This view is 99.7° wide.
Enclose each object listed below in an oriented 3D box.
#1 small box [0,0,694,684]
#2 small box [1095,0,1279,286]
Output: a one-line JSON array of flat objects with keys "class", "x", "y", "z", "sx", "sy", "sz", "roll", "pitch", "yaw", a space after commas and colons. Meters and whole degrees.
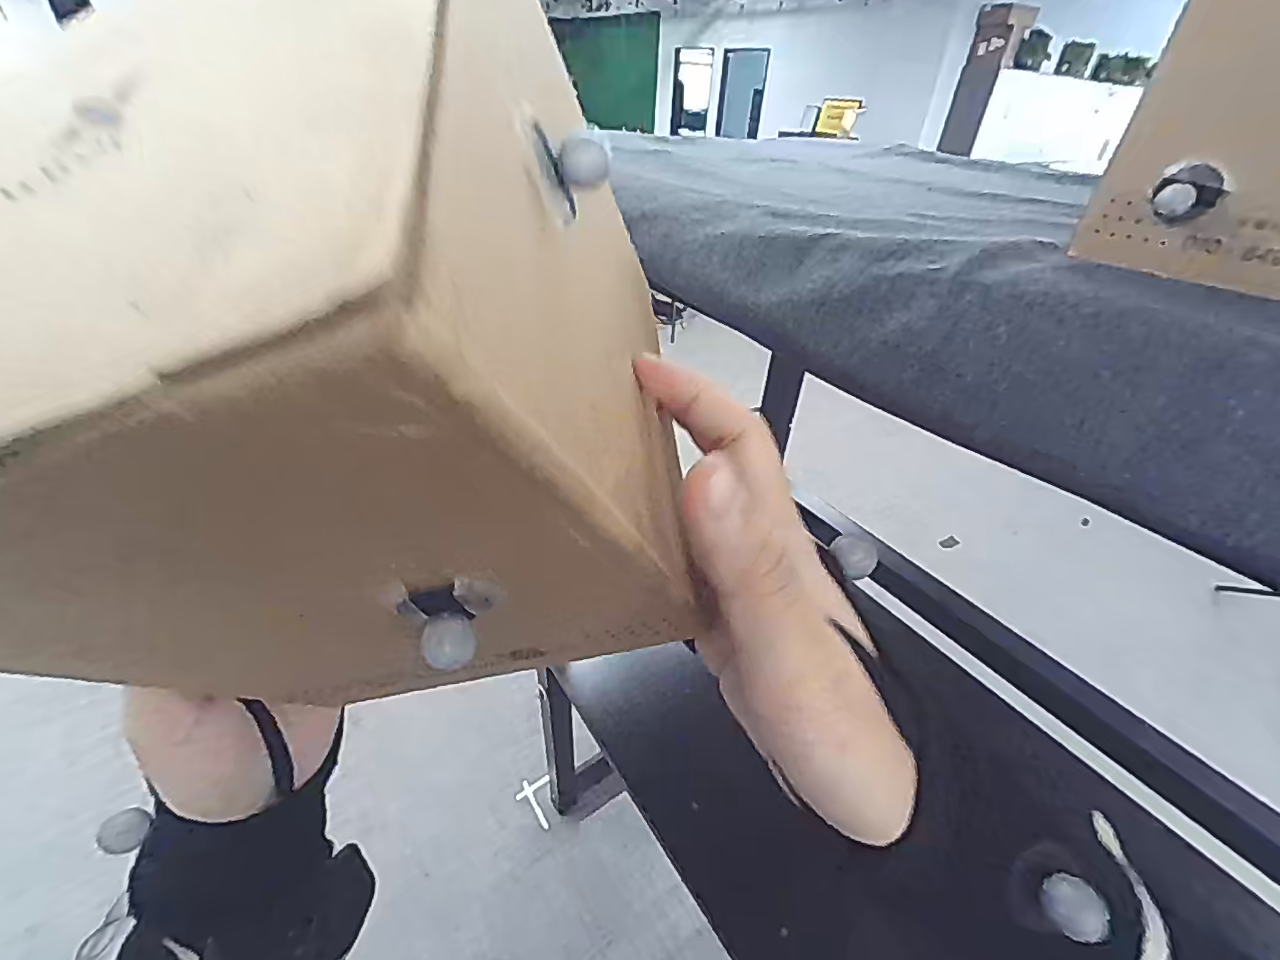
[{"class": "small box", "x": -0.087, "y": -0.037, "z": 0.182, "sx": 0.168, "sy": 0.176, "sz": 0.179, "roll": -14, "pitch": 59, "yaw": 11}, {"class": "small box", "x": 0.326, "y": -0.162, "z": 0.204, "sx": 0.179, "sy": 0.176, "sz": 0.168, "roll": -19, "pitch": 42, "yaw": -31}]
